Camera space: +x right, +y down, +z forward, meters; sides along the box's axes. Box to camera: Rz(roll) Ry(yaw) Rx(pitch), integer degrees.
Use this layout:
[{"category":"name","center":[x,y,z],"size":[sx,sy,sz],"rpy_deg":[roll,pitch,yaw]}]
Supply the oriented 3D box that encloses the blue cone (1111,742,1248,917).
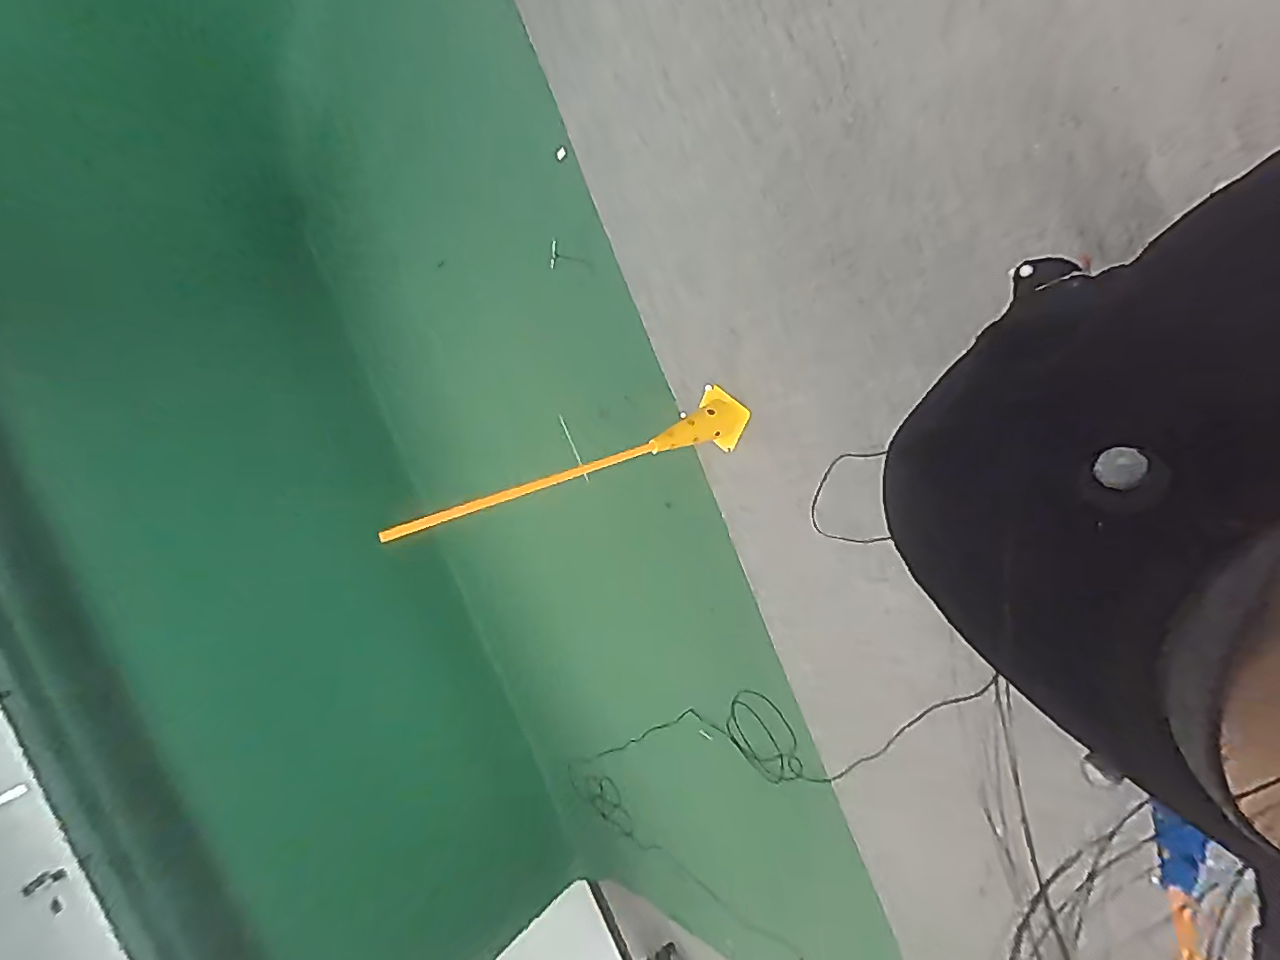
[{"category":"blue cone","center":[1.178,0.788,1.193],"size":[0.193,0.380,0.192],"rpy_deg":[36,132,29]}]
